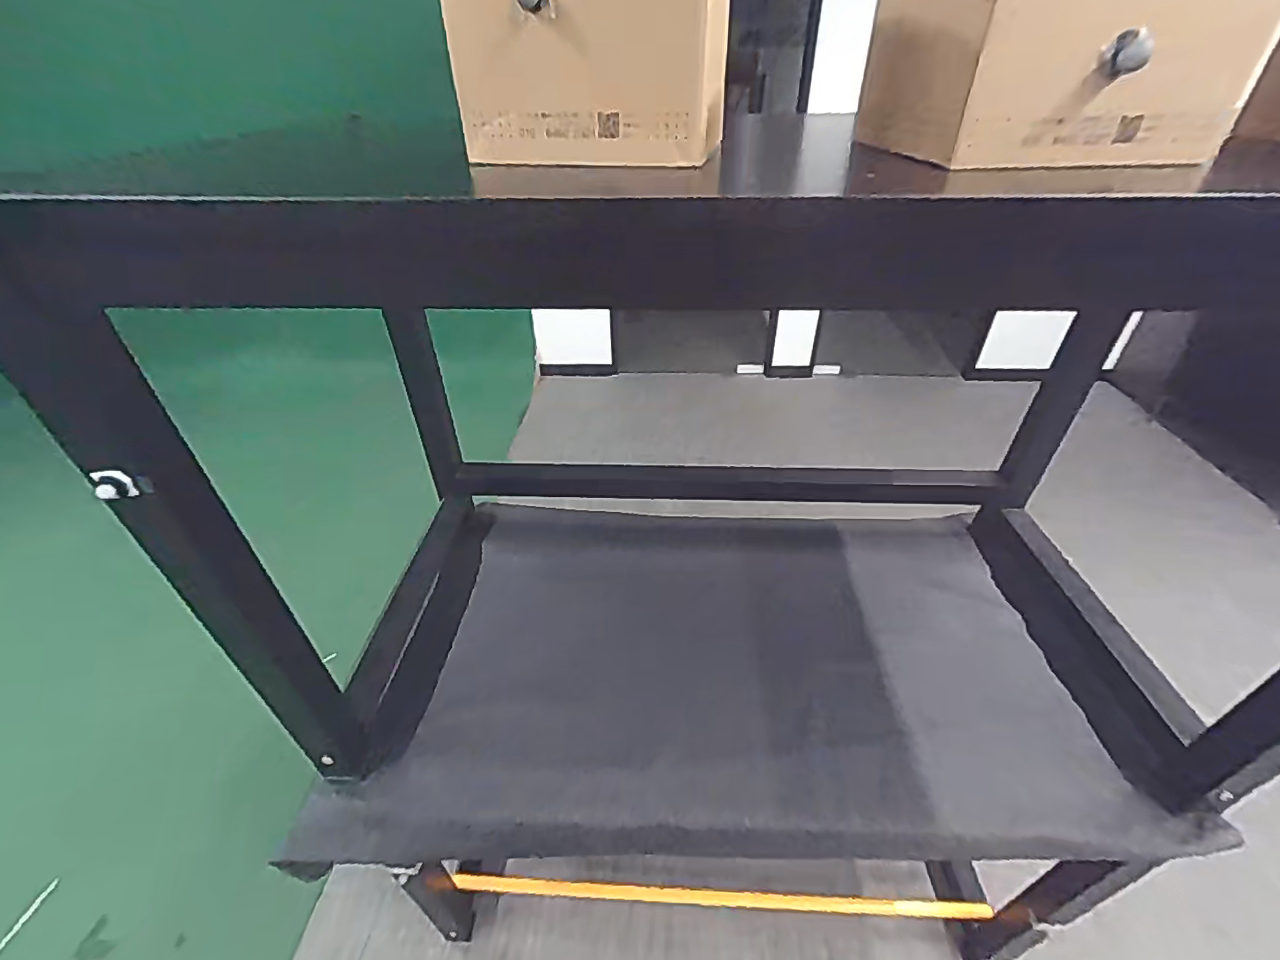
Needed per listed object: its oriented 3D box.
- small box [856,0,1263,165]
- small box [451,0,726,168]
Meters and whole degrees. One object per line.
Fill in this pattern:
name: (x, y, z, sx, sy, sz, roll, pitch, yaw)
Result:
small box: (0.267, -0.320, 0.367, 0.168, 0.176, 0.179, -2, 36, -1)
small box: (-0.025, -0.333, 0.397, 0.168, 0.176, 0.179, 6, 36, 9)
